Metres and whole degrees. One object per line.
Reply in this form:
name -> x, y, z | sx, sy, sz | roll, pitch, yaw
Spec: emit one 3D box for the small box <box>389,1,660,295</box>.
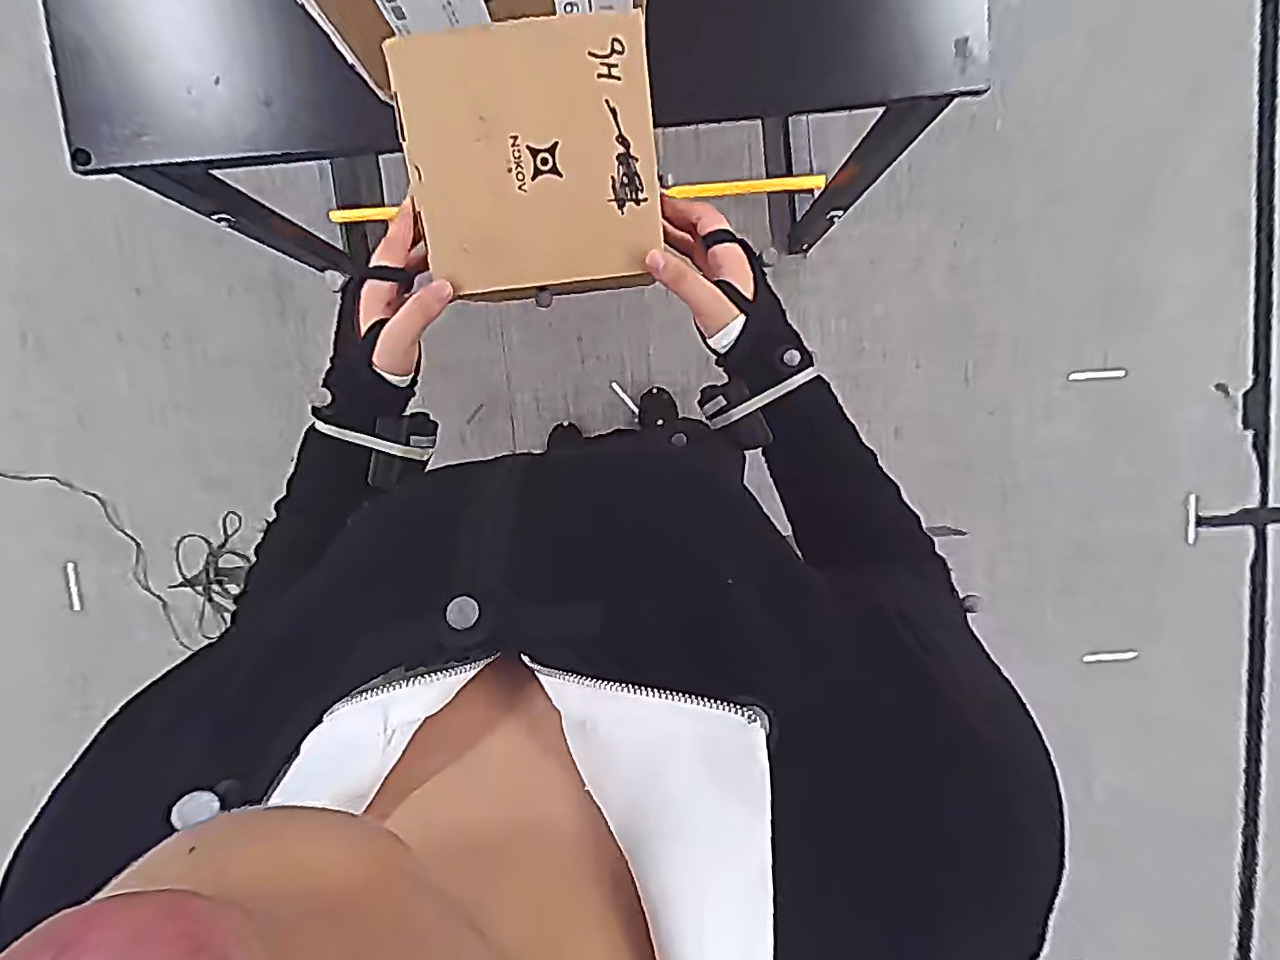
small box -> -0.078, -0.255, 0.460 | 0.179, 0.176, 0.168 | -6, 106, 1
